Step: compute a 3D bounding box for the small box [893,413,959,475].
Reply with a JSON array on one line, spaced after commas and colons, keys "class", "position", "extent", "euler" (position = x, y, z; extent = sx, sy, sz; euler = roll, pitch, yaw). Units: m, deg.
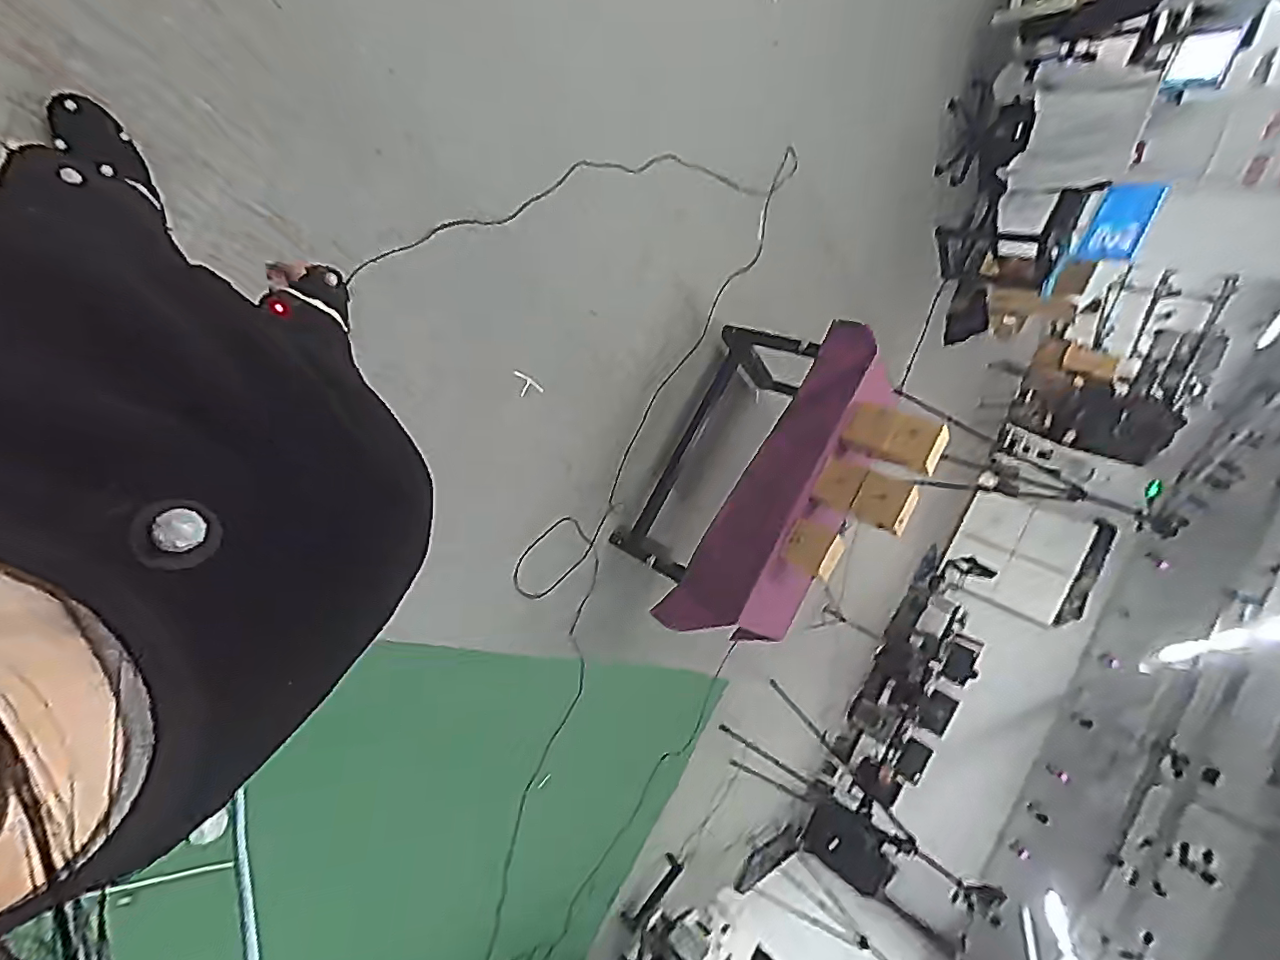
[{"class": "small box", "position": [1.076, -0.141, 2.042], "extent": [0.179, 0.176, 0.168], "euler": [26, 91, -54]}]

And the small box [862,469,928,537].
[{"class": "small box", "position": [0.947, 0.085, 2.019], "extent": [0.168, 0.176, 0.179], "euler": [33, 84, -53]}]

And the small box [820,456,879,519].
[{"class": "small box", "position": [0.832, 0.027, 2.123], "extent": [0.168, 0.176, 0.179], "euler": [30, 87, -52]}]

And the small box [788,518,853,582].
[{"class": "small box", "position": [0.702, 0.271, 2.110], "extent": [0.168, 0.176, 0.179], "euler": [-58, 143, -7]}]
